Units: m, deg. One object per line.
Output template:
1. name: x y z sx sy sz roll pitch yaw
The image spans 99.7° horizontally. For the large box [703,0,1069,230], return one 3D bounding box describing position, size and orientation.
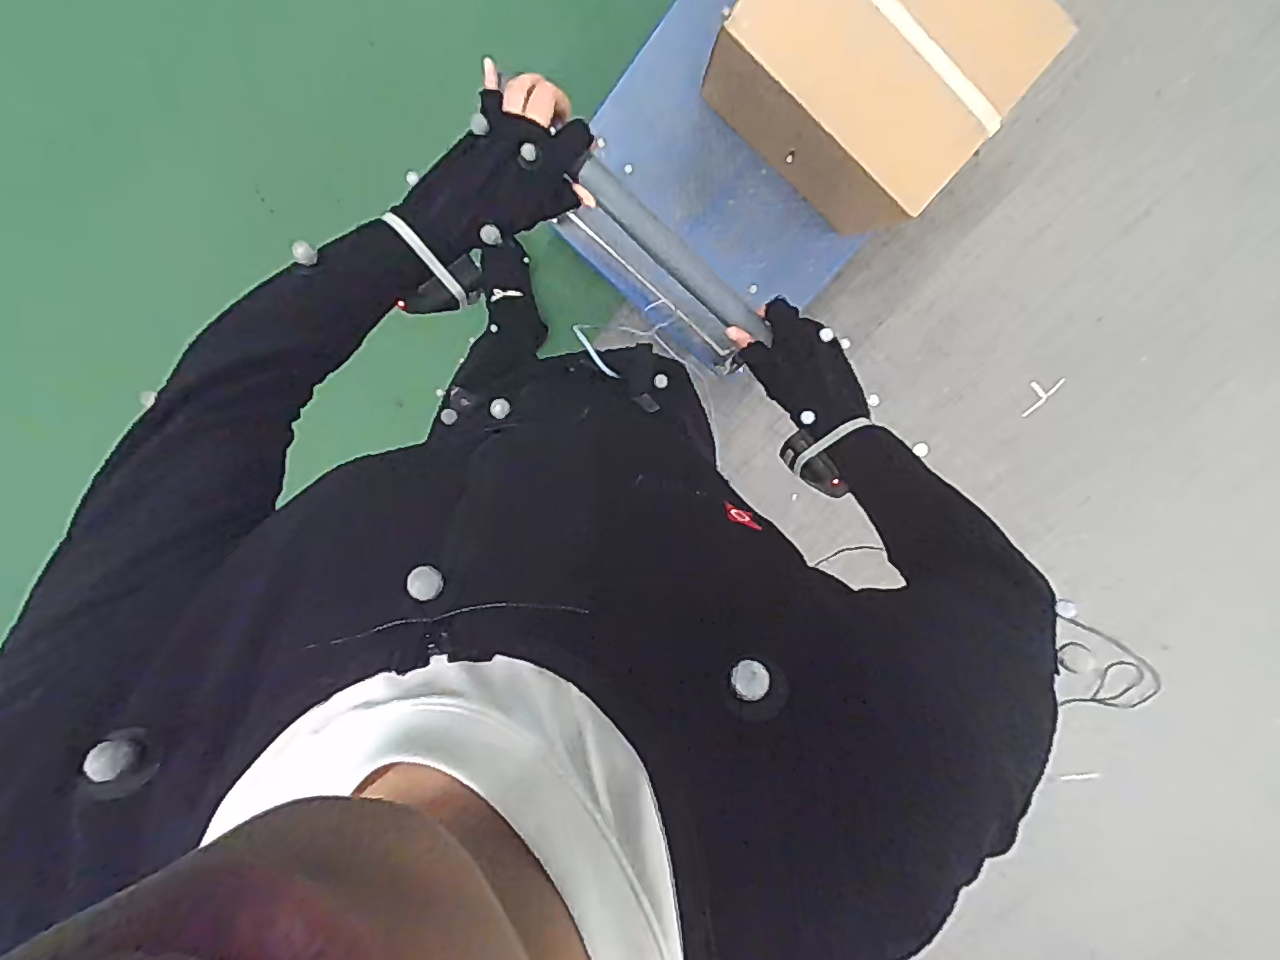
1. large box: 0.362 -0.688 0.902 0.408 0.320 0.320 38 105 -12
